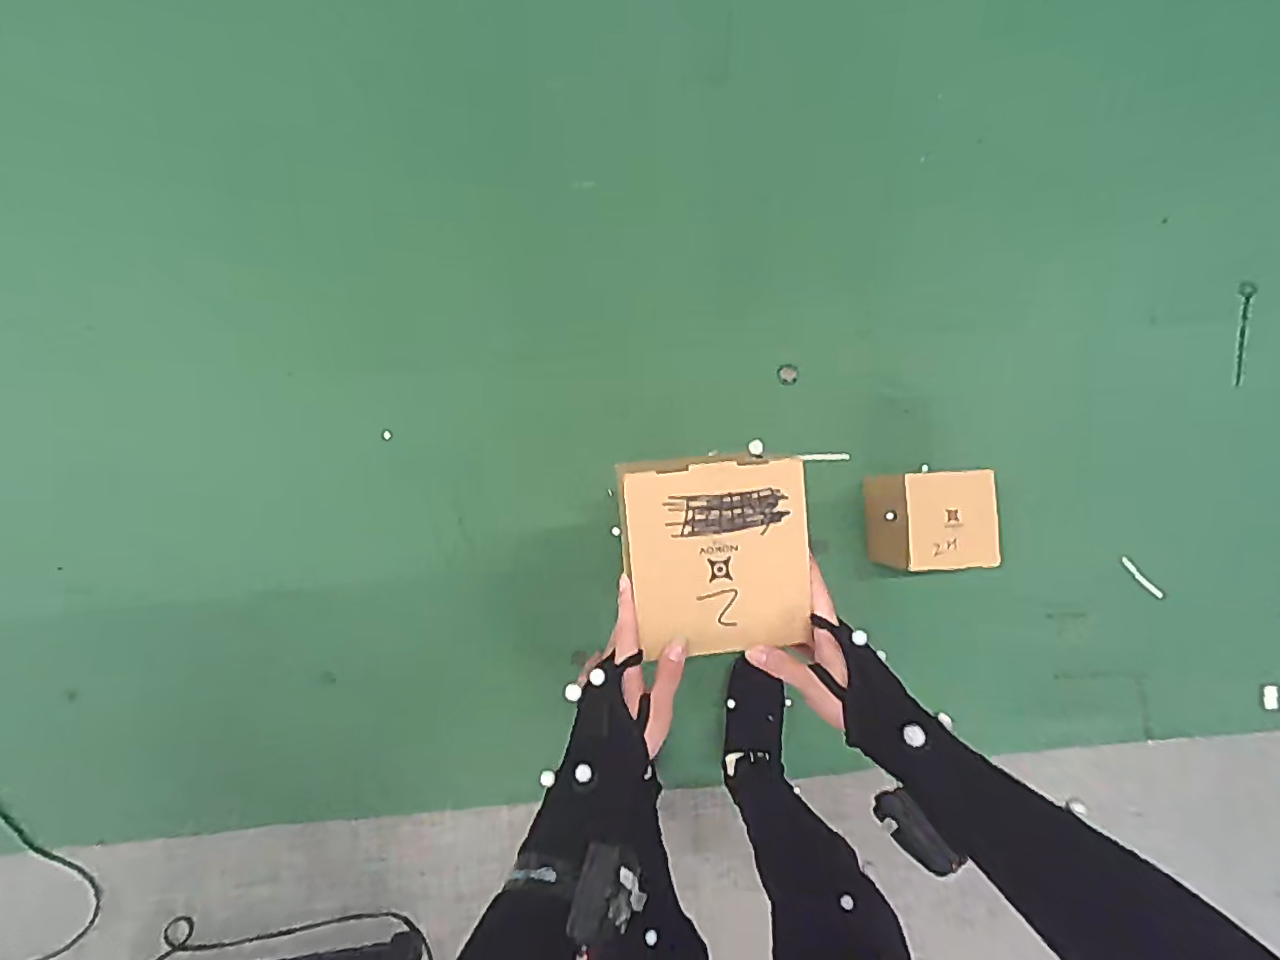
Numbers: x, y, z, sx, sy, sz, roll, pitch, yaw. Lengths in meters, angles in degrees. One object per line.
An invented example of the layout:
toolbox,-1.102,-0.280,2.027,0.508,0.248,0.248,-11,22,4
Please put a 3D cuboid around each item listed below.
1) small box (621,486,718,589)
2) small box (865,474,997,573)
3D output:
small box,0.051,0.103,1.028,0.168,0.176,0.179,-3,87,-2
small box,0.553,0.082,1.048,0.168,0.176,0.179,-2,88,-3
